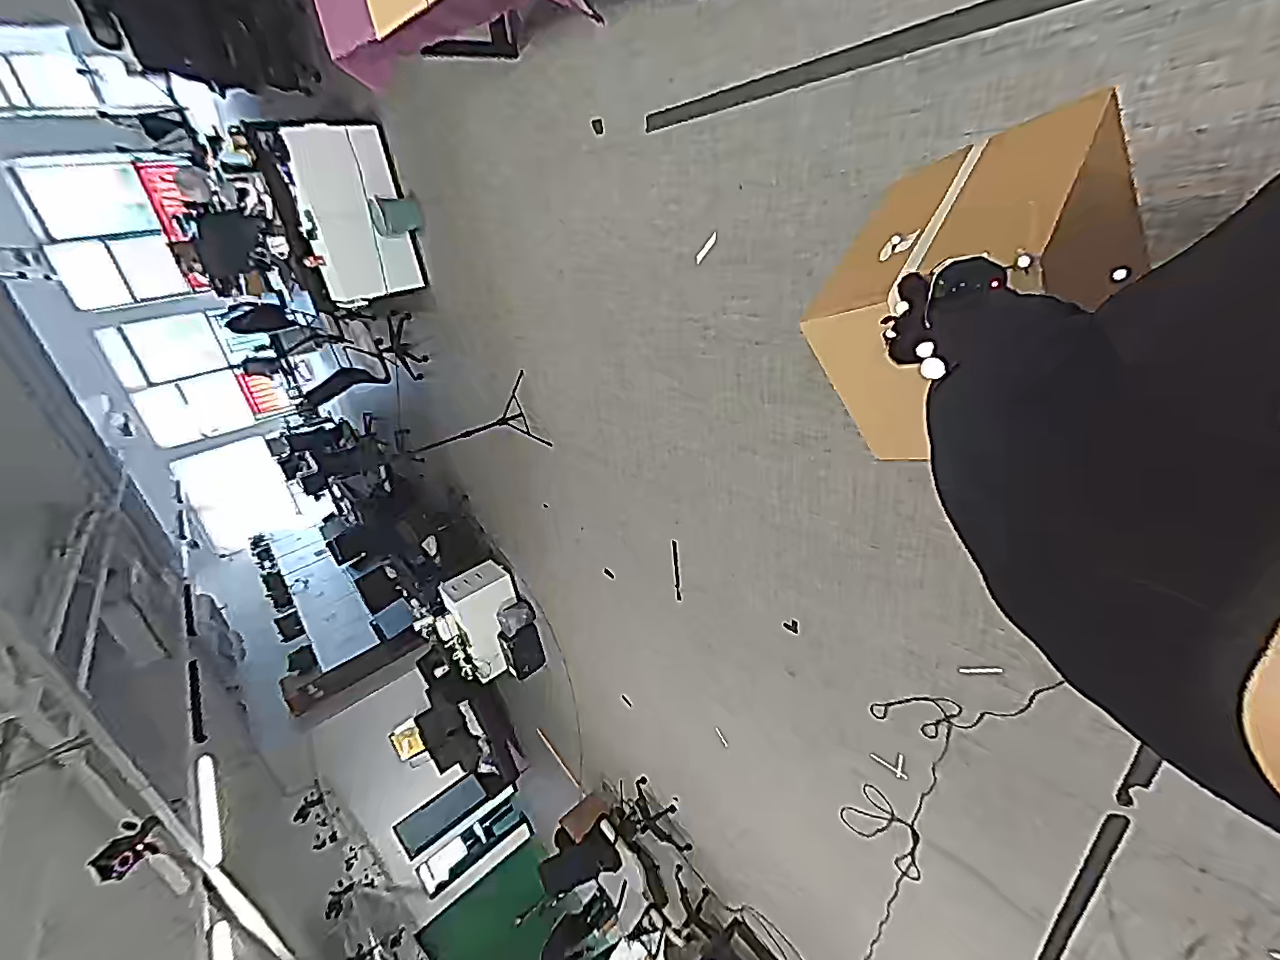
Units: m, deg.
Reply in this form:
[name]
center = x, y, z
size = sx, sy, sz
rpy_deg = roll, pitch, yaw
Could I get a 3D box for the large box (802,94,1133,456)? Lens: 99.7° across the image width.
[large box]
center = 0.529, -0.289, 0.856
size = 0.320, 0.408, 0.320
rpy_deg = 46, 155, -27
